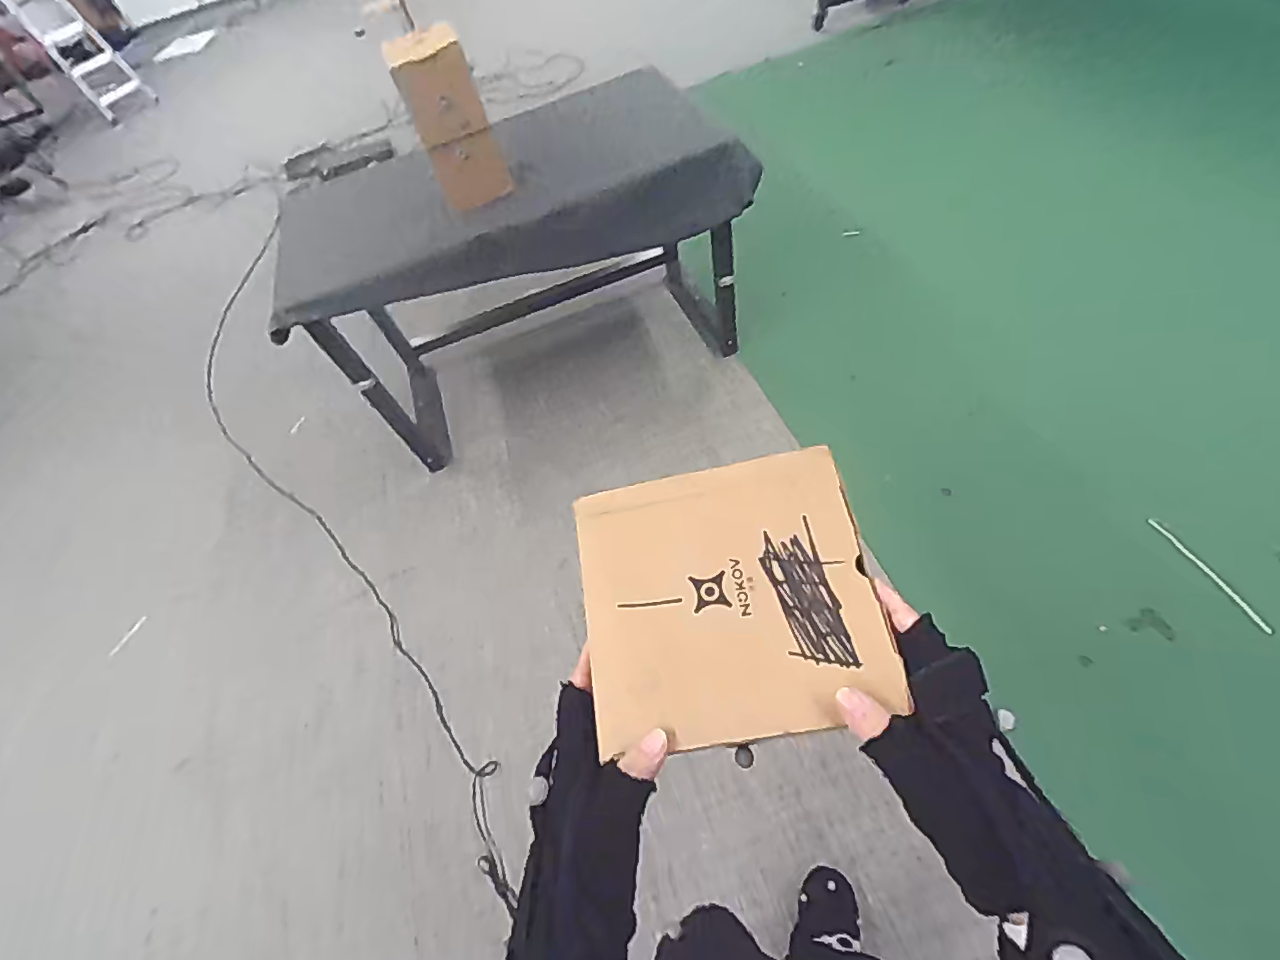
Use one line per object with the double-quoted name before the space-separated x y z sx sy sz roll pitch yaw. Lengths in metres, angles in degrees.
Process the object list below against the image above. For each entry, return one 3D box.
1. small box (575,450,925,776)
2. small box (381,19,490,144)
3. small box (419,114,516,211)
"small box" 0.065 0.103 0.396 0.179 0.176 0.168 -14 64 3
"small box" -0.463 -0.903 1.239 0.168 0.176 0.179 -23 56 -3
"small box" -0.437 -0.819 1.377 0.179 0.176 0.168 -22 56 -4
